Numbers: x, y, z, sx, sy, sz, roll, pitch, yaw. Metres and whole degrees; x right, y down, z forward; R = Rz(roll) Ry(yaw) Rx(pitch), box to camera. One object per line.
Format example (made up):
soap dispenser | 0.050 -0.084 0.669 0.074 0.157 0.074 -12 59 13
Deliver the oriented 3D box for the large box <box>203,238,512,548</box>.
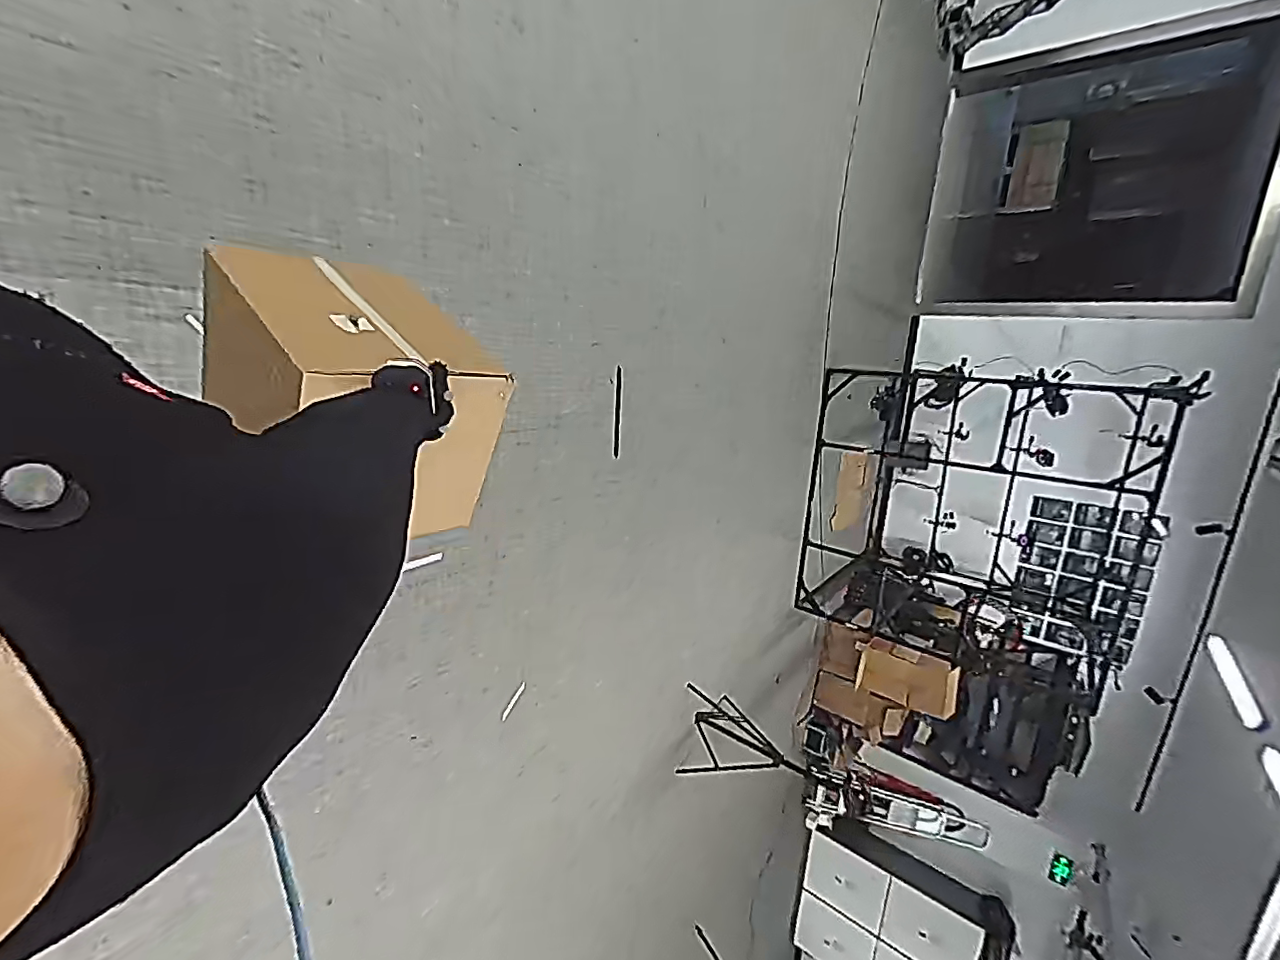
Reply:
large box | -0.496 -0.151 0.926 0.320 0.408 0.320 -12 138 -49
